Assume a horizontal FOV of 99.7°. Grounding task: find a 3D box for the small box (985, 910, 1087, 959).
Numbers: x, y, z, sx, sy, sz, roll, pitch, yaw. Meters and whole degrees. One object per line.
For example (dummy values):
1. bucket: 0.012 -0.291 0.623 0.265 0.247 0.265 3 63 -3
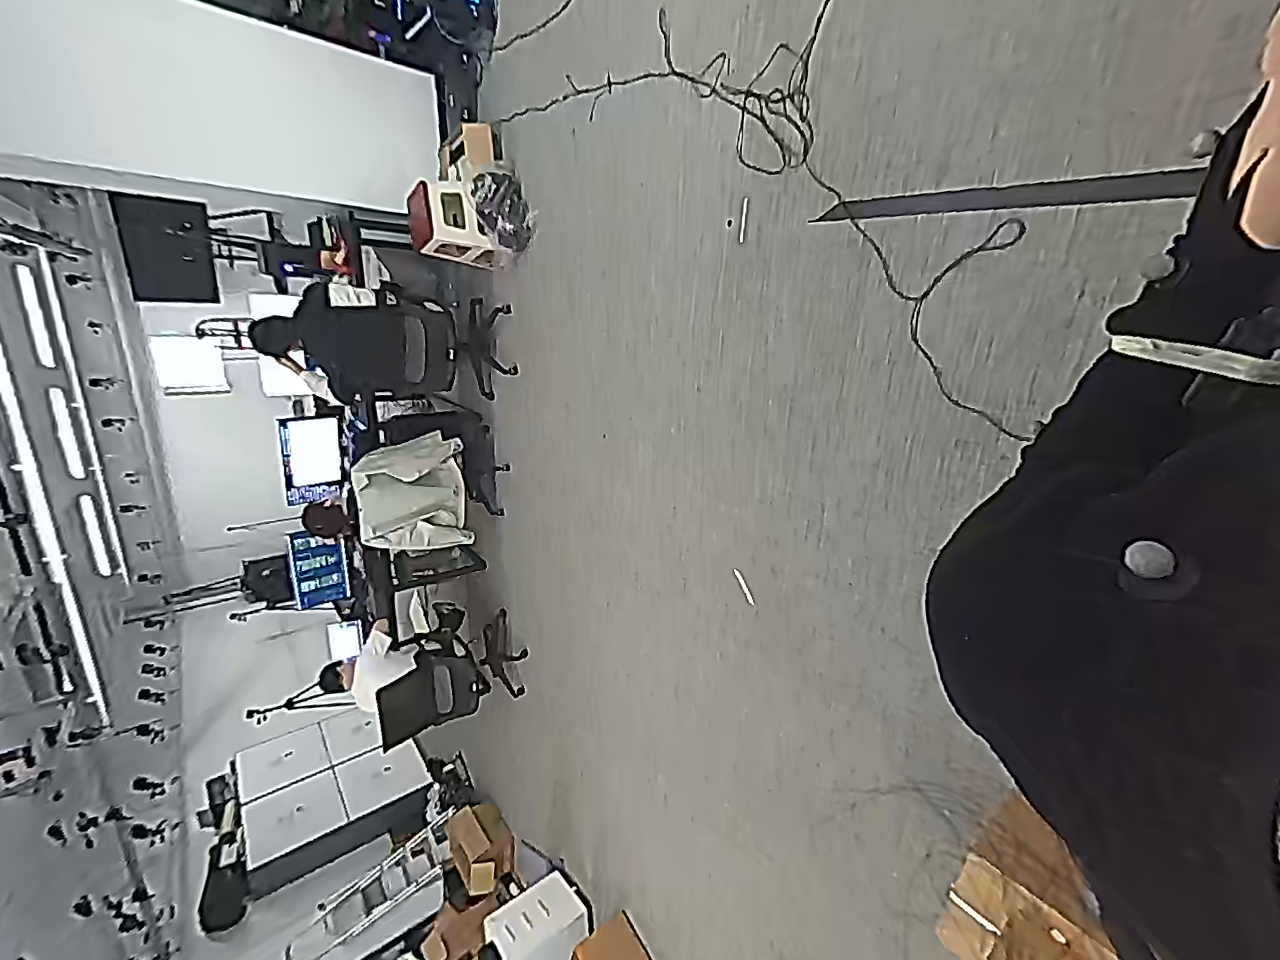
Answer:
1. small box: 0.813 1.047 1.101 0.179 0.176 0.168 23 115 48
